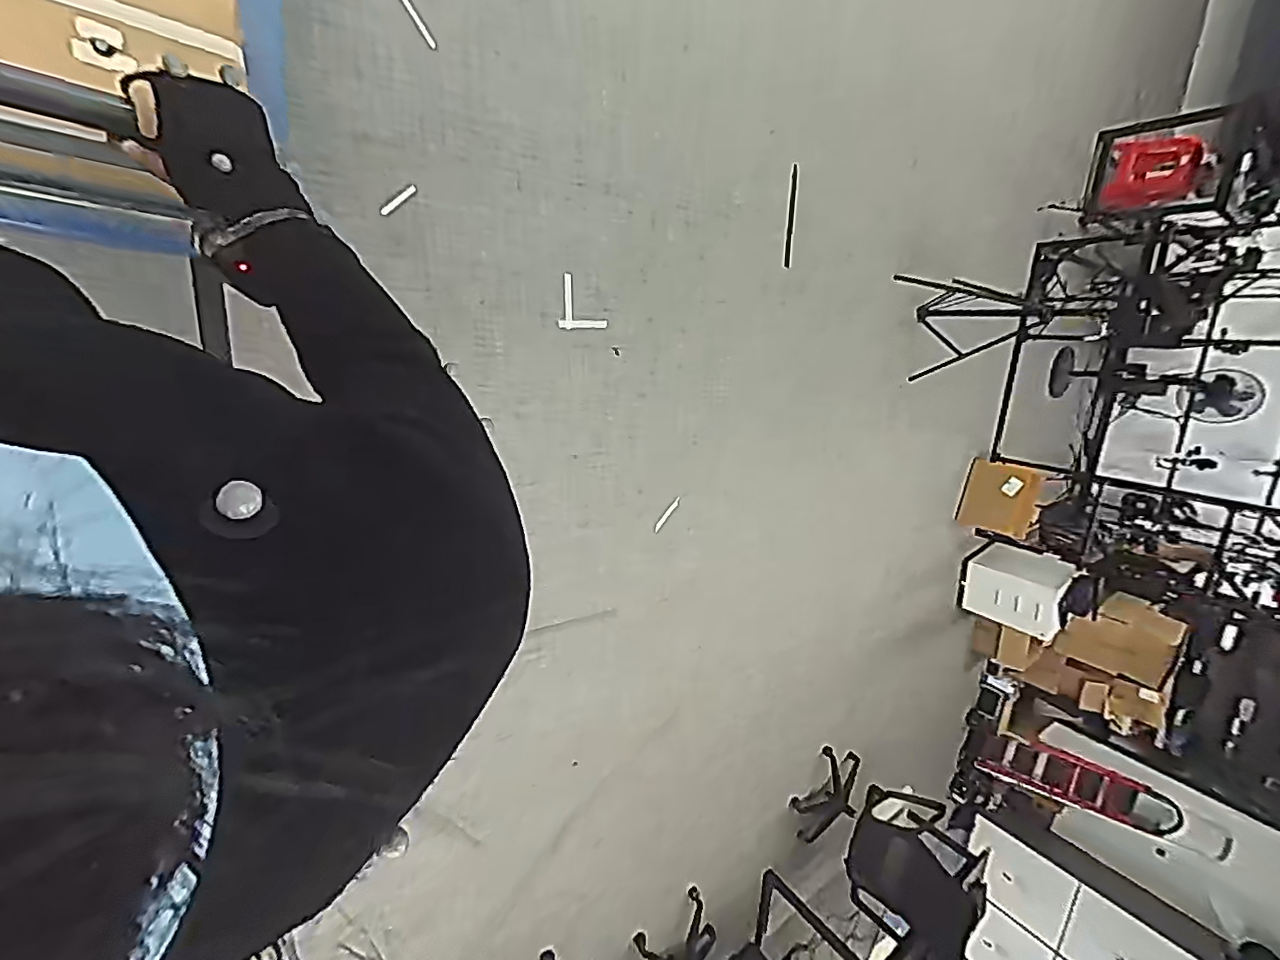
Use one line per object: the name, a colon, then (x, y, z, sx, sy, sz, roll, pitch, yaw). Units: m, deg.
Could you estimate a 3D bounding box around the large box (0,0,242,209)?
large box: (-0.798, -0.596, 0.722, 0.408, 0.320, 0.320, -4, 106, -38)
